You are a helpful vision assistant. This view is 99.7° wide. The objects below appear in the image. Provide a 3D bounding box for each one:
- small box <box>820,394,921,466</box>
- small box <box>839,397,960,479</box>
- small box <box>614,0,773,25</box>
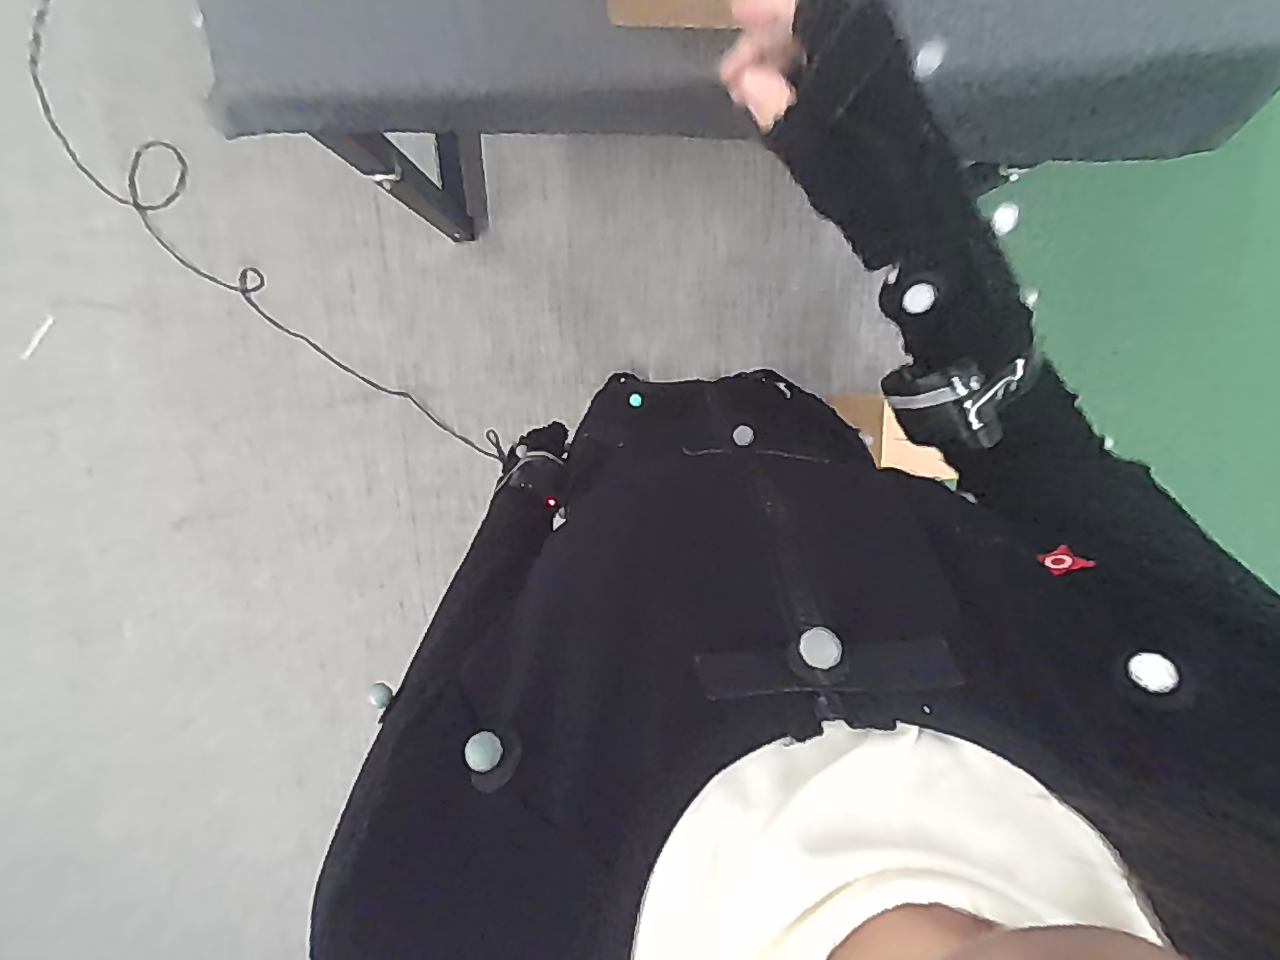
[{"bbox_3d":[0.563,-0.127,1.336,0.179,0.176,0.168,-2,100,1],"label":"small box"},{"bbox_3d":[0.554,-0.096,1.175,0.179,0.176,0.168,0,99,0],"label":"small box"},{"bbox_3d":[0.059,-0.565,0.499,0.179,0.176,0.168,1,100,-1],"label":"small box"}]
